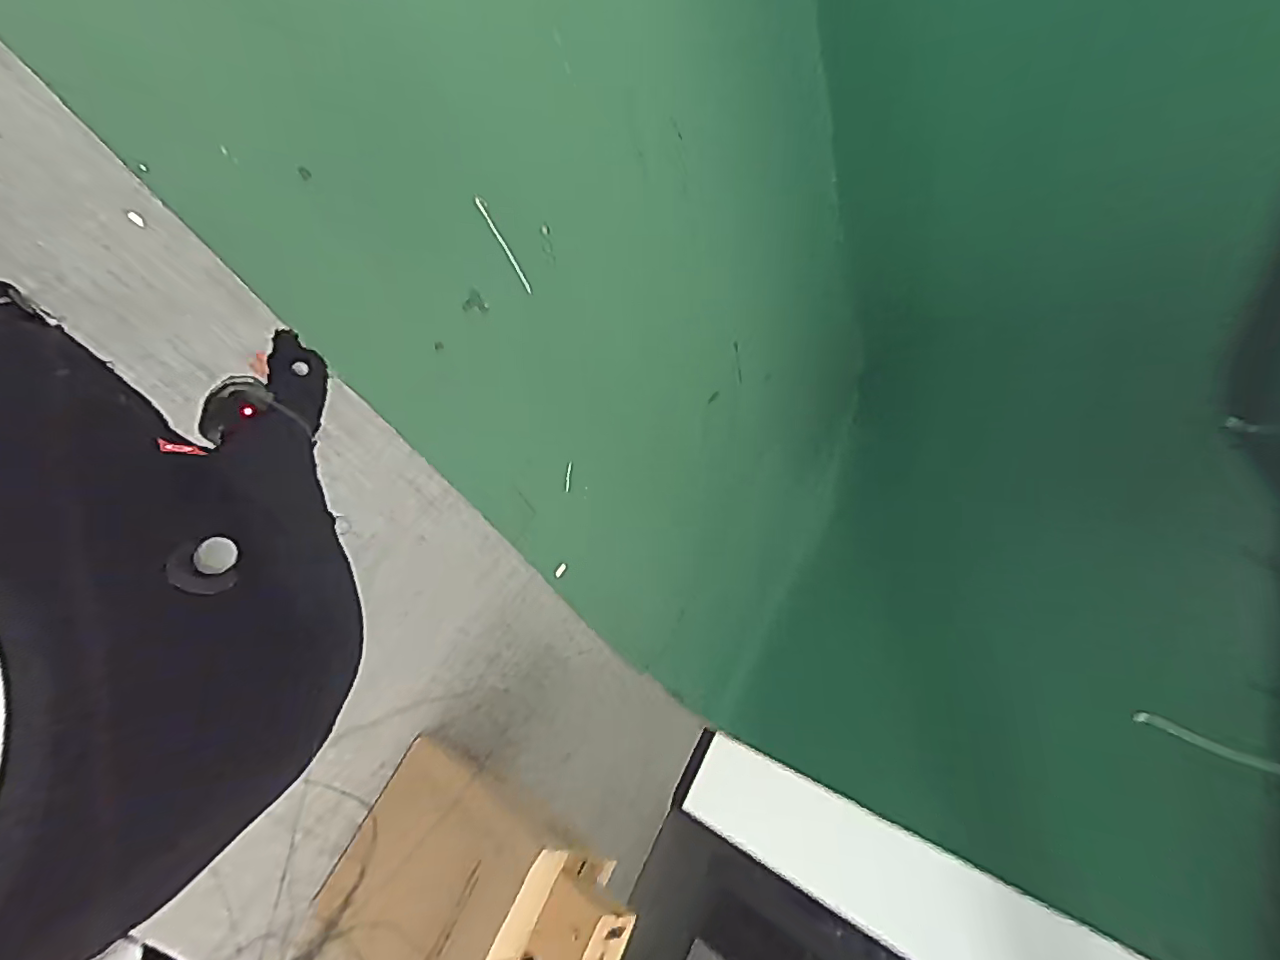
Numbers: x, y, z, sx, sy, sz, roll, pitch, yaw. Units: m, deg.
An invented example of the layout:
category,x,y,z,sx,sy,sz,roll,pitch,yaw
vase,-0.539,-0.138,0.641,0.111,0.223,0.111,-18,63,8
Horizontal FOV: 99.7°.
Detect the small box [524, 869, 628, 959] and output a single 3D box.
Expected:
category,x,y,z,sx,sy,sz,roll,pitch,yaw
small box,-0.168,1.148,1.398,0.168,0.176,0.179,47,64,-41
